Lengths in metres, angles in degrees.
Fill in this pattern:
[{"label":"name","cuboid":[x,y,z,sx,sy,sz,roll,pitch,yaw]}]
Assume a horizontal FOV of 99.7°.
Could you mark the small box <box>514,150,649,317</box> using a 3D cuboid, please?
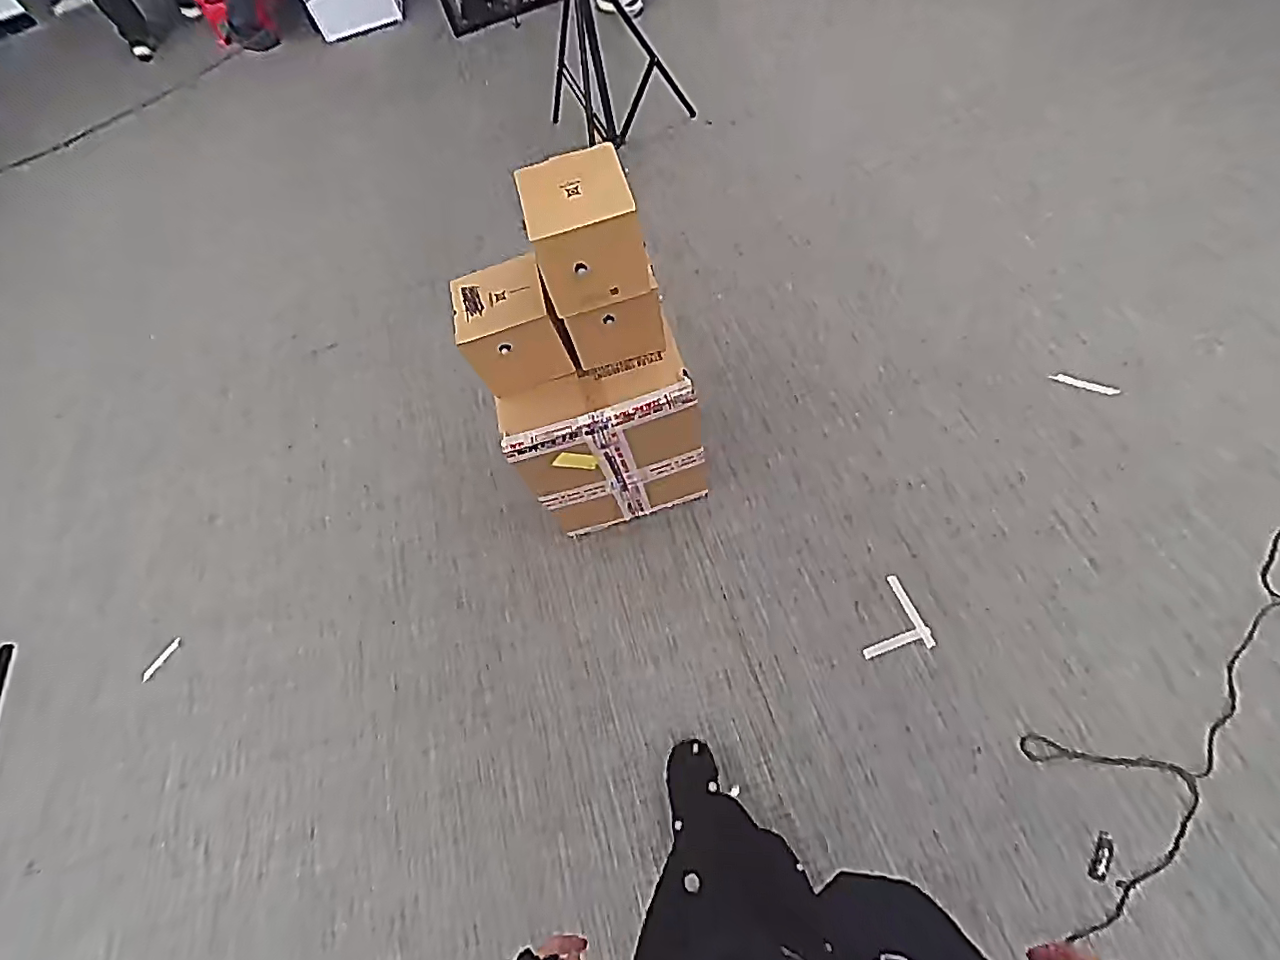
[{"label":"small box","cuboid":[-0.091,-0.394,0.895,0.168,0.176,0.179,-17,62,1]}]
